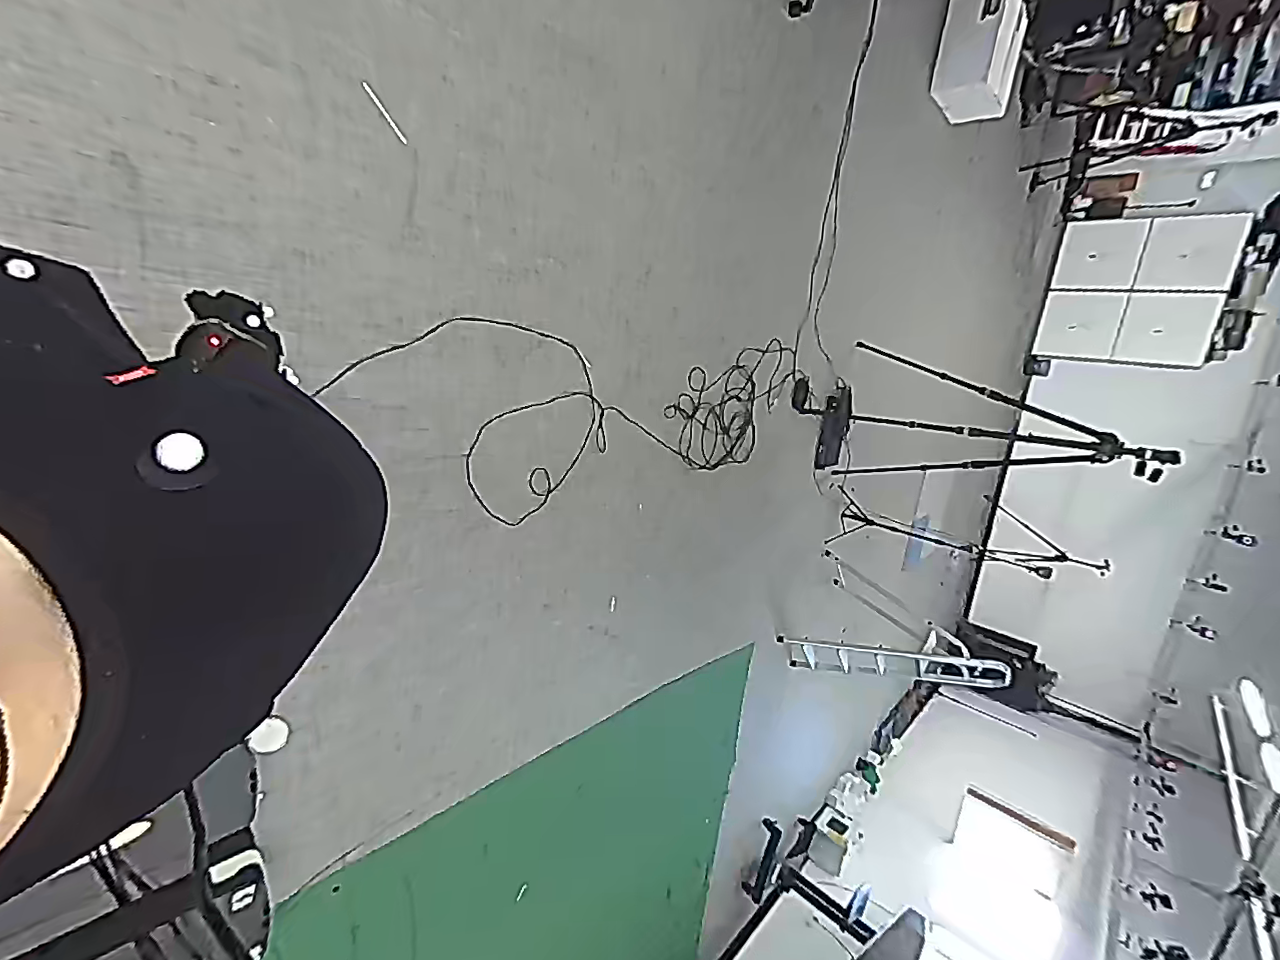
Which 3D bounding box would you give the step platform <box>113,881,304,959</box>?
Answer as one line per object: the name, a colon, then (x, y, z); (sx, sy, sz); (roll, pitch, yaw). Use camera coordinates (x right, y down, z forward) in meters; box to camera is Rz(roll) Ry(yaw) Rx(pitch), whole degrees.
step platform: (-1.101, 1.178, 1.106); (0.684, 0.204, 0.286); (-8, 110, -48)
